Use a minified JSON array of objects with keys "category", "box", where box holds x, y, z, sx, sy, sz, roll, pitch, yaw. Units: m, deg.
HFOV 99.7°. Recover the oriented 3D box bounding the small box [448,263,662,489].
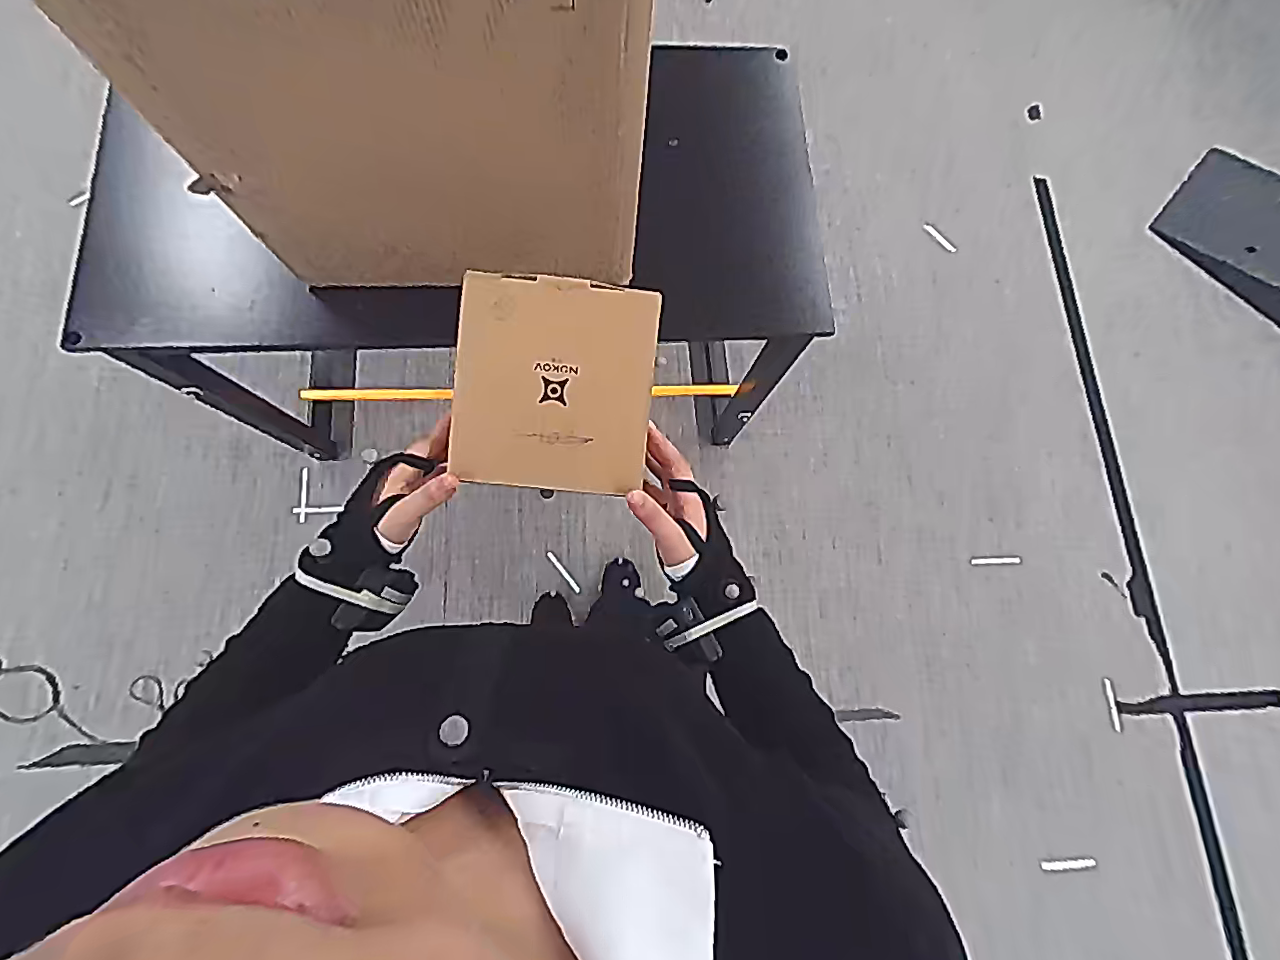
[{"category":"small box","box":[-0.076,-0.088,0.531,0.168,0.176,0.179,5,92,-3]}]
